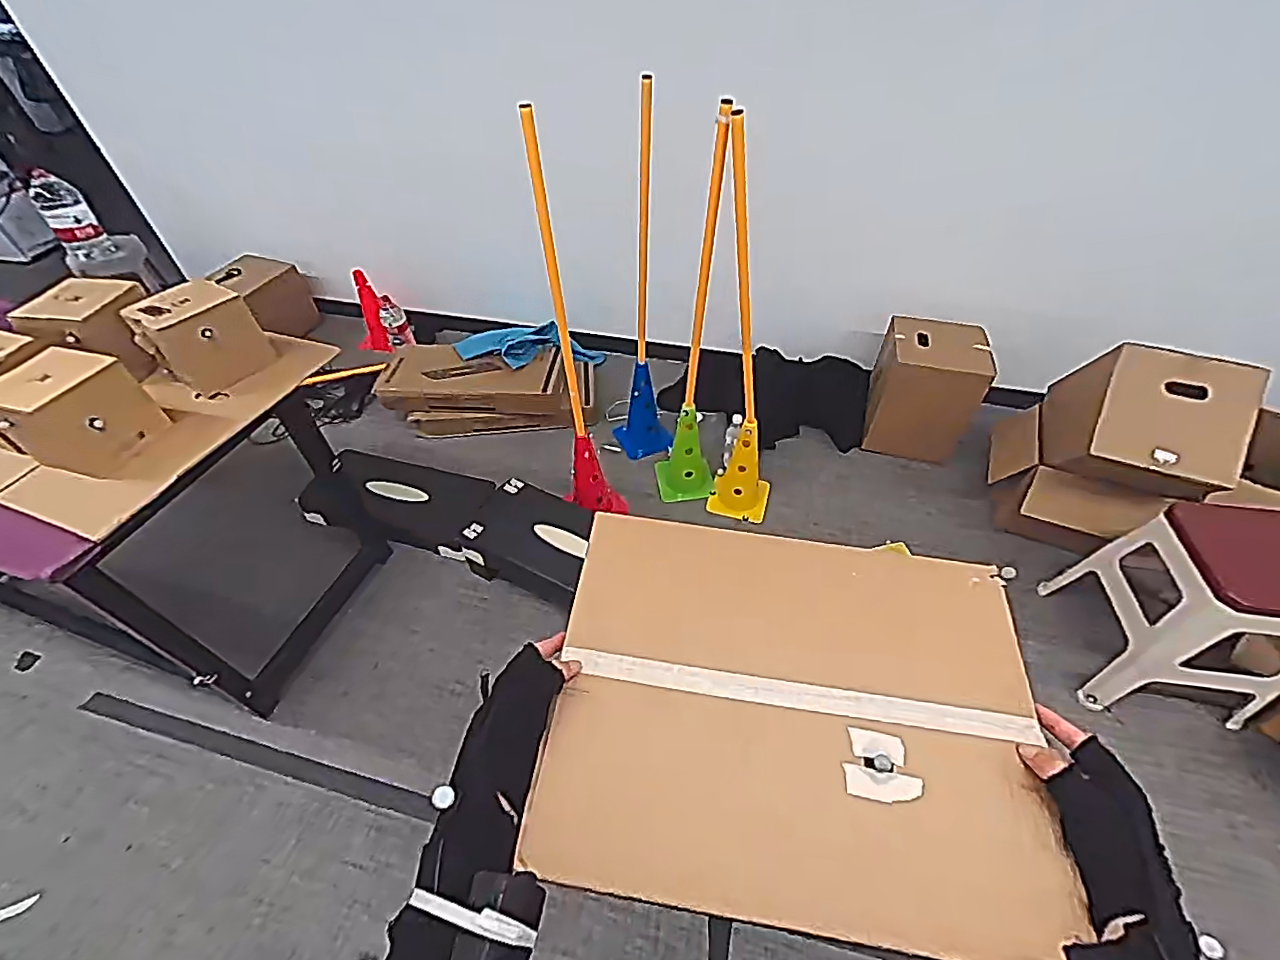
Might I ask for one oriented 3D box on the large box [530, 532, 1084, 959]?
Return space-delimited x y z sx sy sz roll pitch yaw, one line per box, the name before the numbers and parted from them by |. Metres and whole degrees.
large box | 0.129 0.286 0.591 0.408 0.320 0.320 7 55 4
